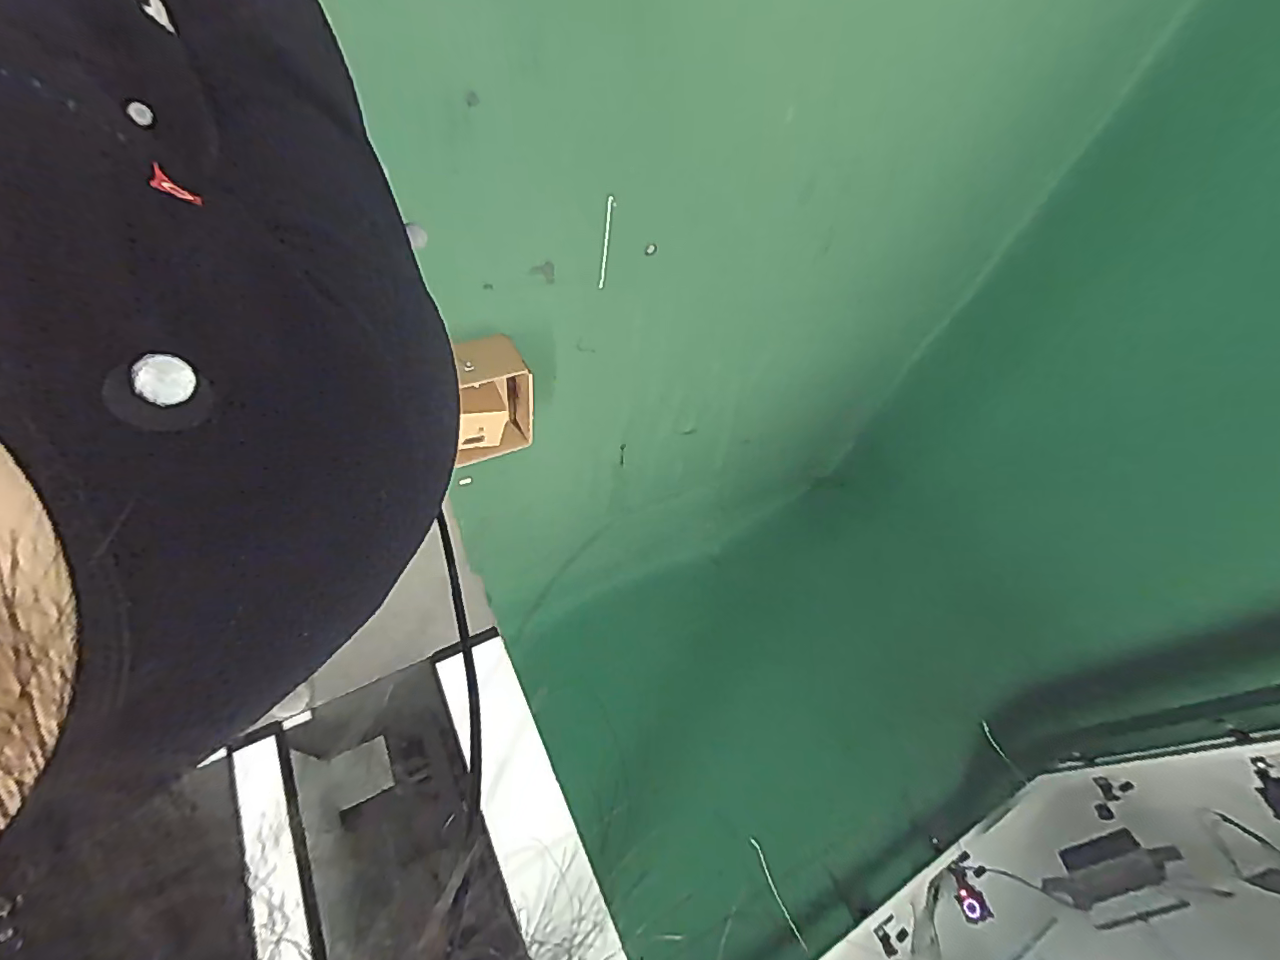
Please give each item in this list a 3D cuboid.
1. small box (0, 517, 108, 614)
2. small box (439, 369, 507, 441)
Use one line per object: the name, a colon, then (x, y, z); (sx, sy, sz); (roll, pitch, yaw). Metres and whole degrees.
small box: (-1.496, 0.208, 1.371); (0.168, 0.176, 0.179); (-11, 148, -28)
small box: (-0.571, -0.256, 1.831); (0.168, 0.176, 0.179); (-10, 148, -35)
